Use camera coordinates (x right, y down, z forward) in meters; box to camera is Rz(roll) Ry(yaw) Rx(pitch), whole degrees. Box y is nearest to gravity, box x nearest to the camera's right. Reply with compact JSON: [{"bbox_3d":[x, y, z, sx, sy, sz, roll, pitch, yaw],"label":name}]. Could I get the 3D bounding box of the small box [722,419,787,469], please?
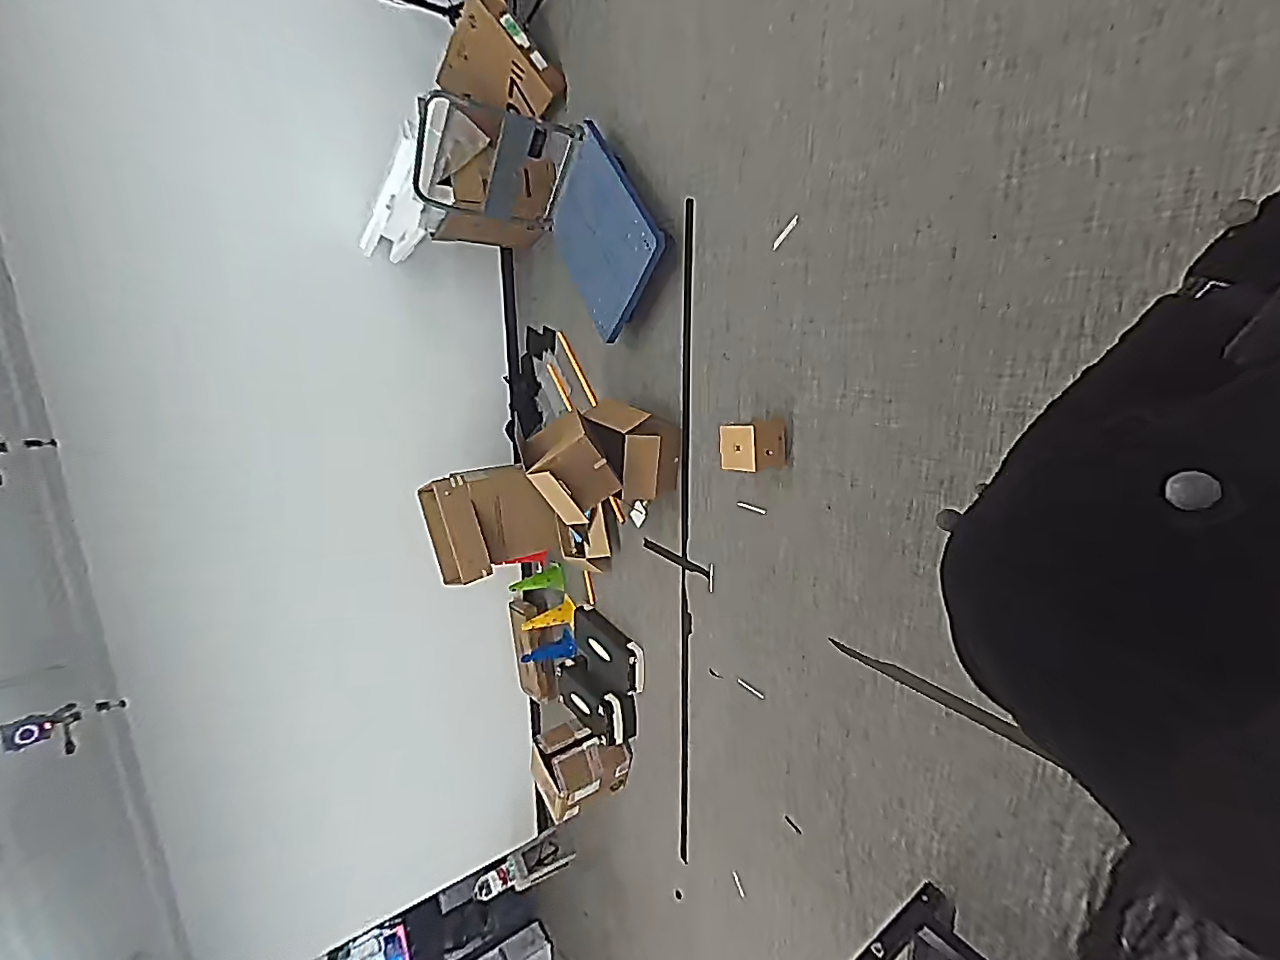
[{"bbox_3d":[0.429,-0.138,1.999,0.179,0.176,0.168,8,105,56],"label":"small box"}]
